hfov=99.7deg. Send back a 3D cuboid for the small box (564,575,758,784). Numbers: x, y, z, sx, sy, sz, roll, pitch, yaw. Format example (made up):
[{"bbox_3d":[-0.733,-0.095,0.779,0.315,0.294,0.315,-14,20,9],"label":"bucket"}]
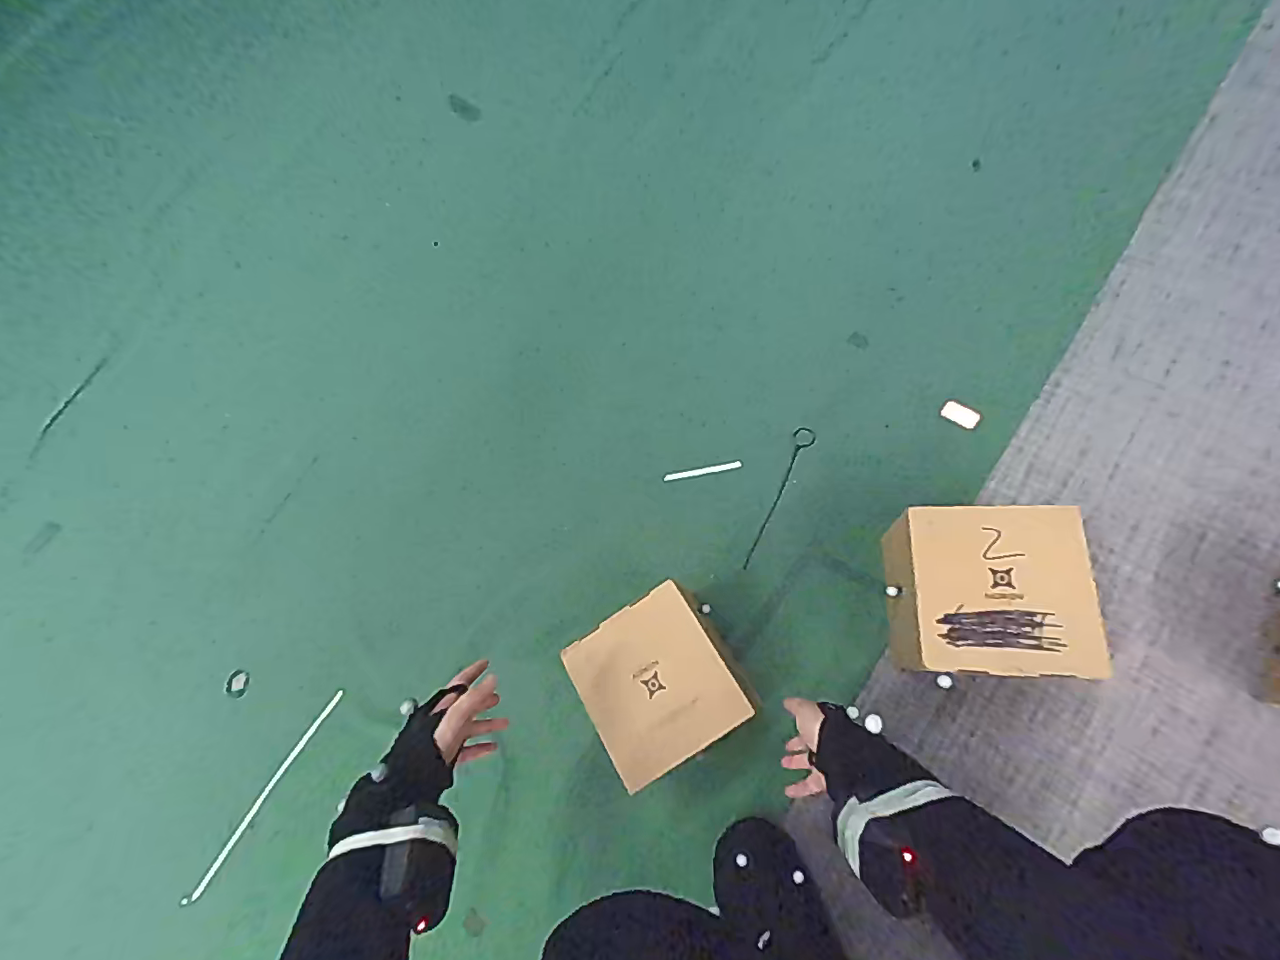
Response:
[{"bbox_3d":[0.034,0.248,0.691,0.168,0.176,0.179,-34,67,2],"label":"small box"}]

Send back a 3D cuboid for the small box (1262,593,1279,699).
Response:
[{"bbox_3d":[0.778,0.167,0.520,0.179,0.176,0.168,18,78,18],"label":"small box"}]
